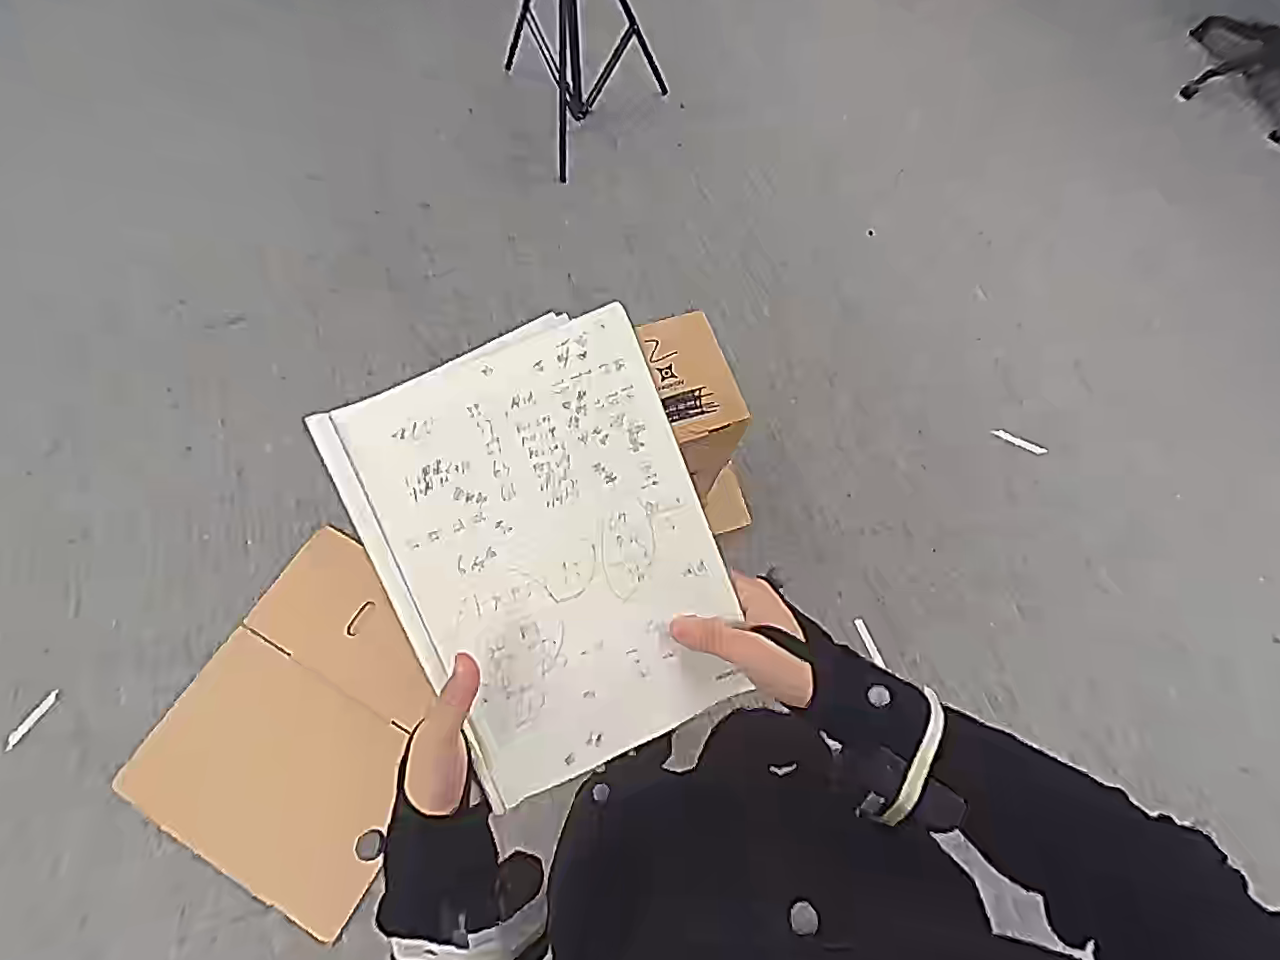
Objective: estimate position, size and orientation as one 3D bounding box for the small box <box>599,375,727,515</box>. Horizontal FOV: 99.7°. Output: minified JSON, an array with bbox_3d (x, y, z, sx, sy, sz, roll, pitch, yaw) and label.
[{"bbox_3d":[0.032,-0.050,0.925,0.168,0.176,0.179,-15,72,-8],"label":"small box"}]

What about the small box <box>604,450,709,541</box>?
[{"bbox_3d":[0.028,0.015,1.076,0.168,0.176,0.179,-12,71,-7],"label":"small box"}]
